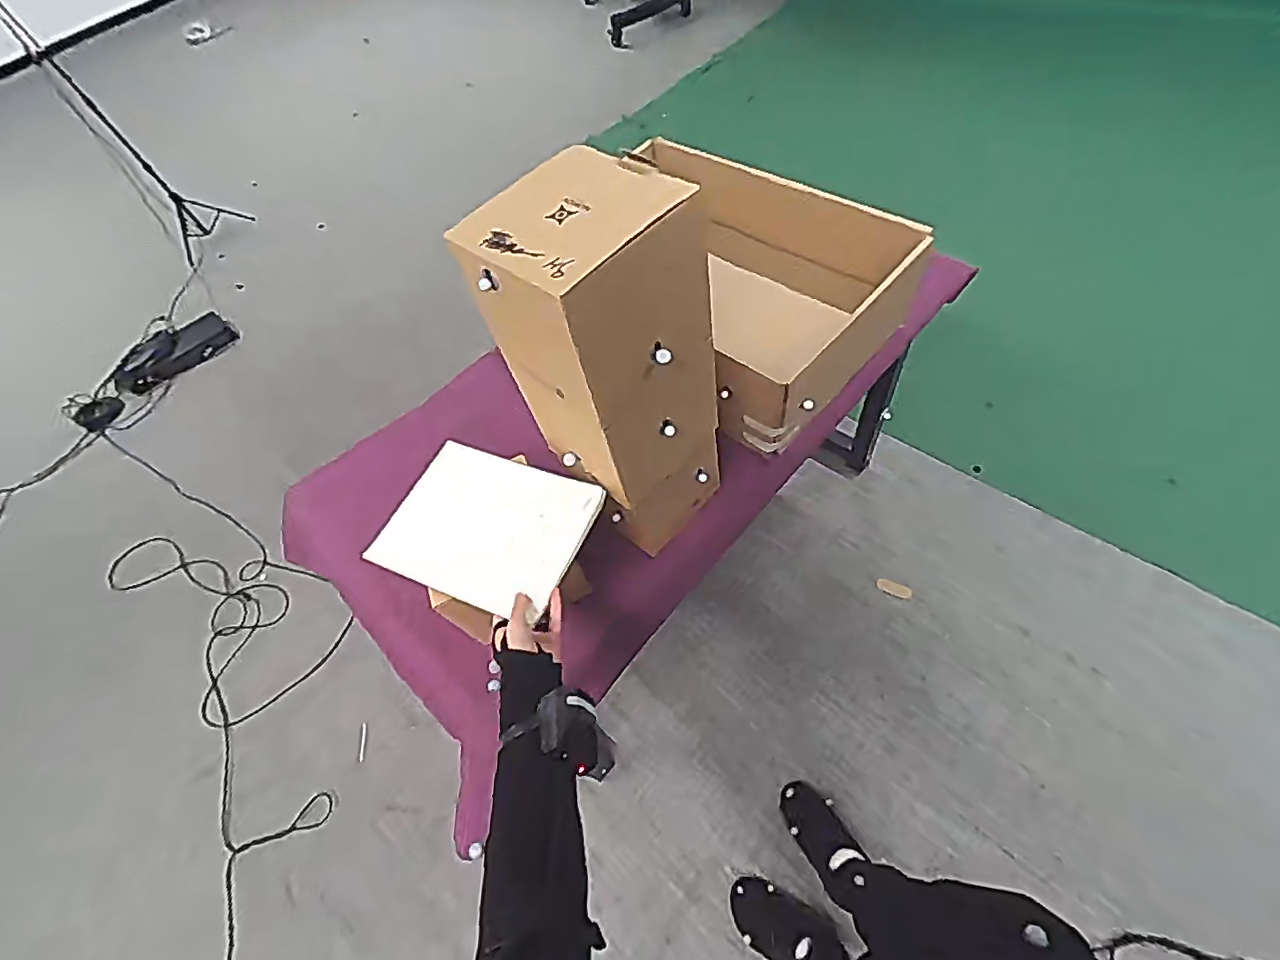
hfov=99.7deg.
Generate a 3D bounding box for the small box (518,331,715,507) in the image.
[{"bbox_3d":[-0.022,-0.101,0.681,0.168,0.176,0.179,36,70,29],"label":"small box"}]

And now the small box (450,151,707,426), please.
[{"bbox_3d":[-0.048,-0.190,0.545,0.168,0.176,0.179,35,69,29],"label":"small box"}]
